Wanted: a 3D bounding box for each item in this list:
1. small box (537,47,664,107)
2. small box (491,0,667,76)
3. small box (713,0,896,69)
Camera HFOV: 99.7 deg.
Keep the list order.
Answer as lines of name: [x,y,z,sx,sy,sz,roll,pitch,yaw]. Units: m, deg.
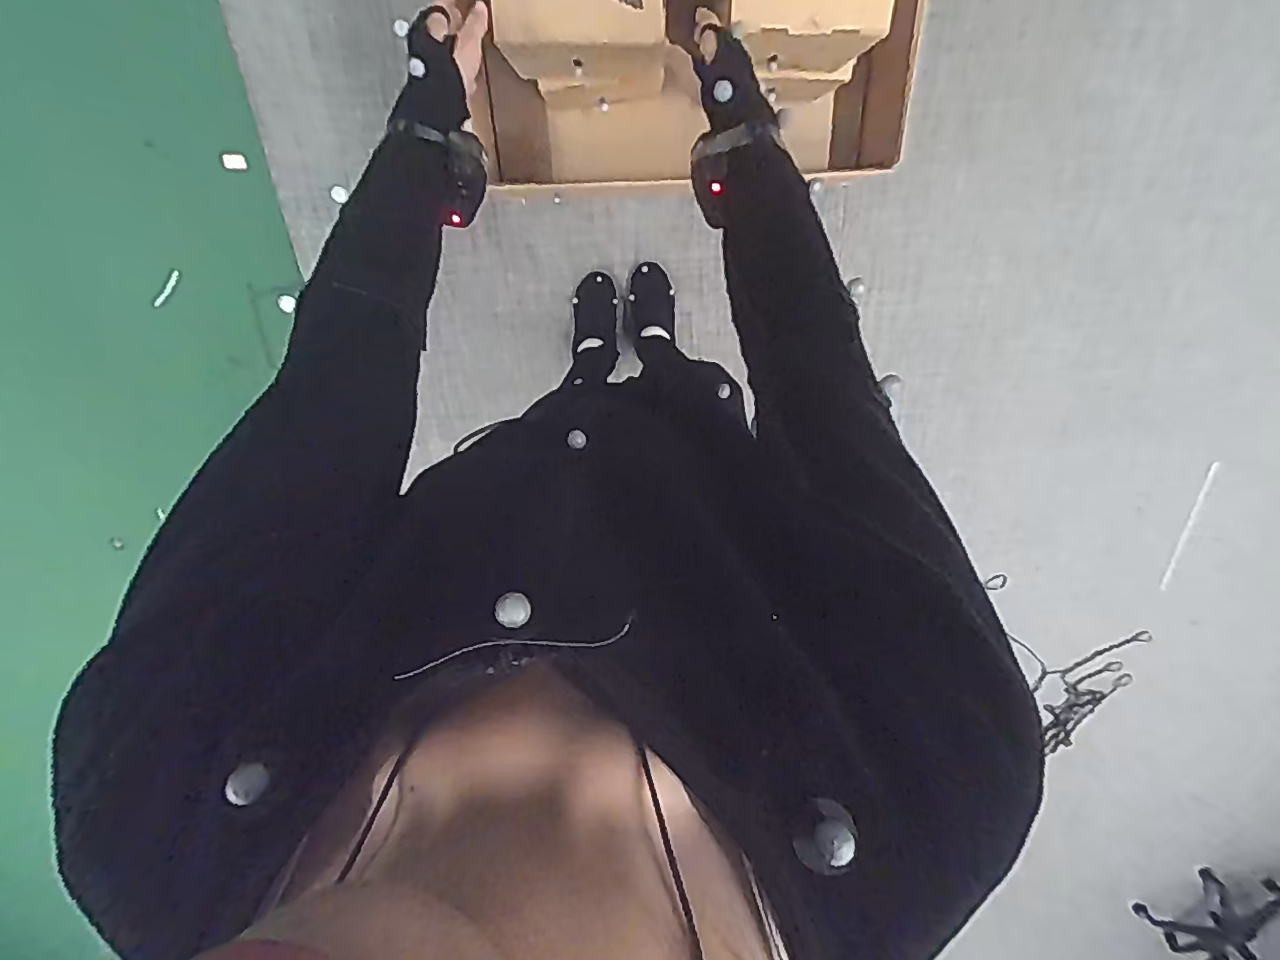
small box: [-0.060,-0.629,0.727,0.168,0.176,0.179,-6,117,2]
small box: [-0.062,-0.555,0.581,0.179,0.176,0.168,0,116,-1]
small box: [0.174,-0.573,0.581,0.168,0.176,0.179,0,116,-1]
